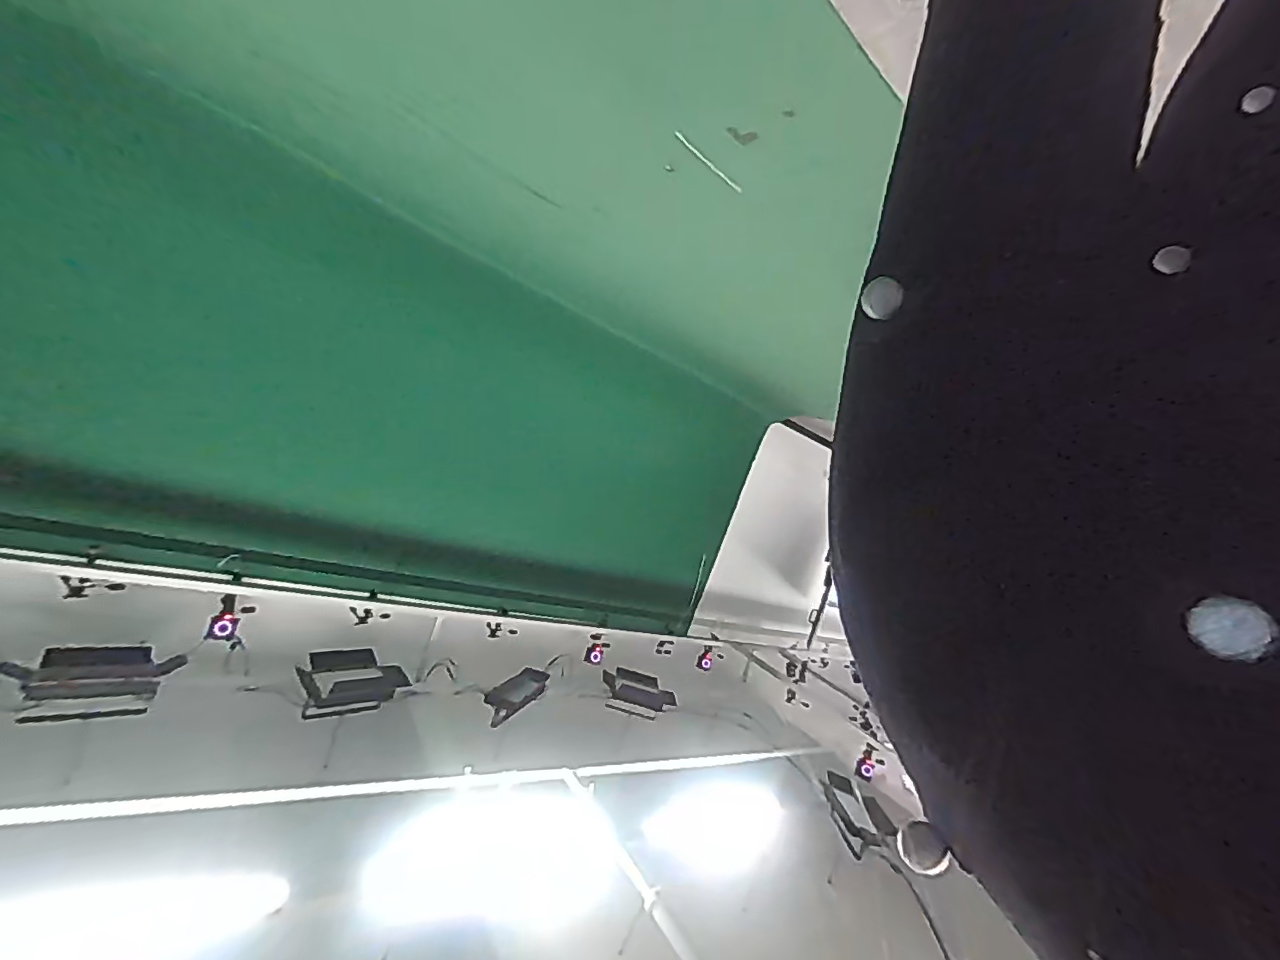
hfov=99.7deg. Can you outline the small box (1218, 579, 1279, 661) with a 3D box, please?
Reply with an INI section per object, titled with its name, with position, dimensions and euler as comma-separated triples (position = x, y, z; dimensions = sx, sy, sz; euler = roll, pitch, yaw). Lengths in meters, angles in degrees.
[small box]
position = 1.639, 0.370, 1.388
dimensions = 0.179, 0.176, 0.168
euler = 19, -178, -37
